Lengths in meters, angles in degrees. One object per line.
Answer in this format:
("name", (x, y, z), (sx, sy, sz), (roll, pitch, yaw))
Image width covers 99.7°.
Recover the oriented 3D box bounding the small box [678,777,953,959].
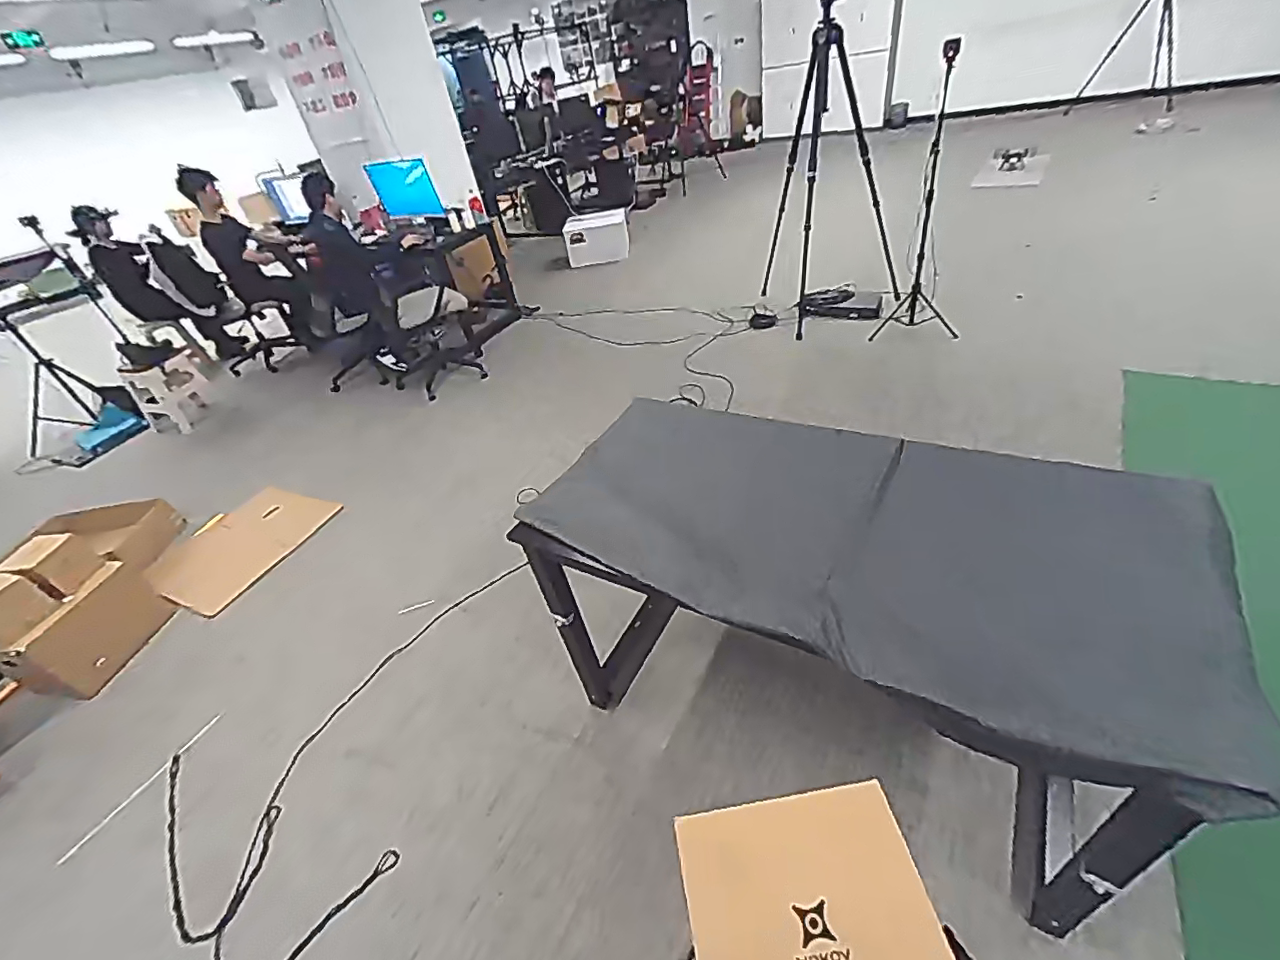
("small box", (0.126, 0.363, 0.416), (0.168, 0.176, 0.179), (-10, 42, 0))
